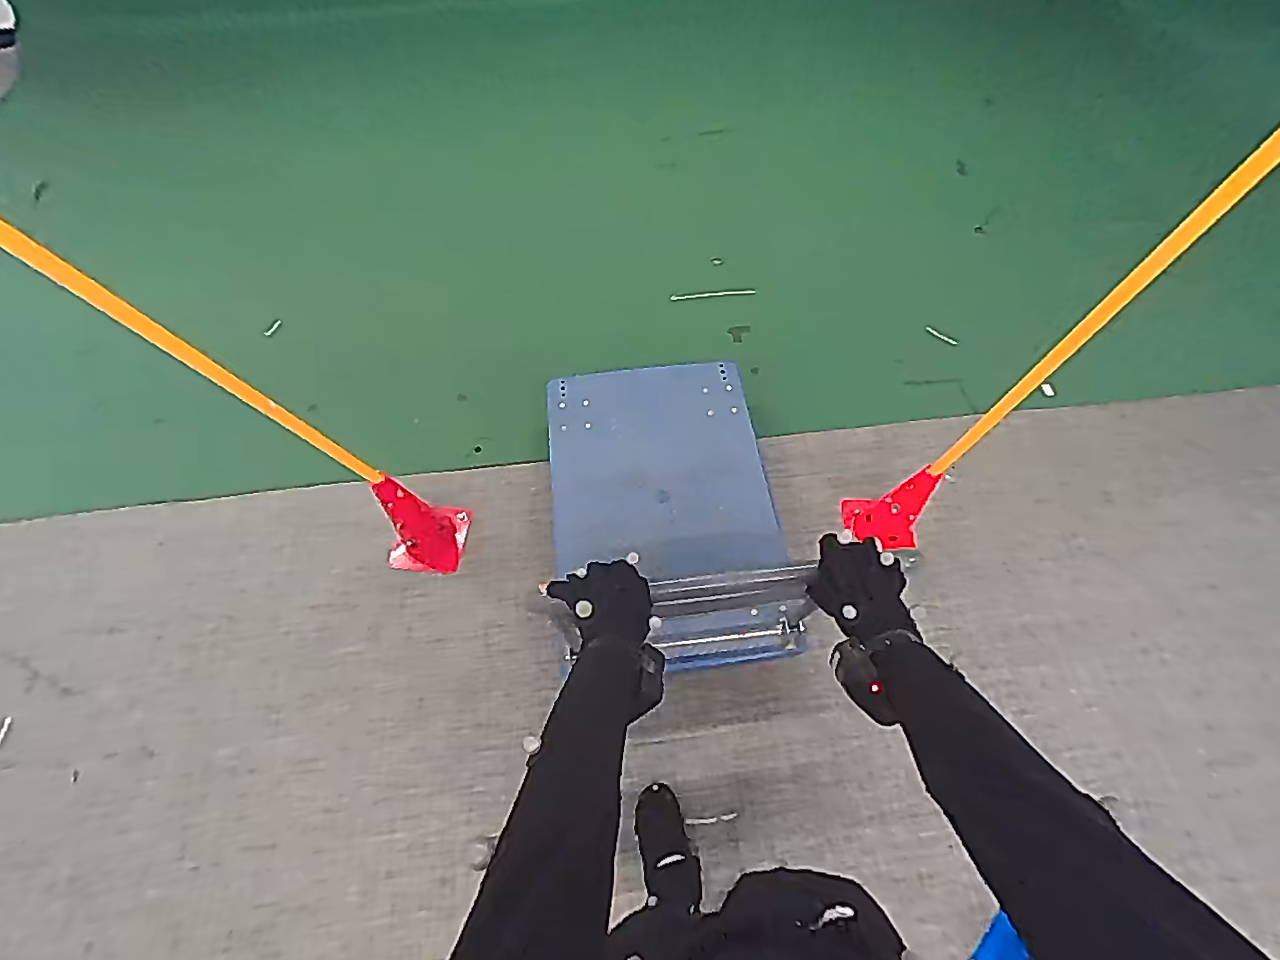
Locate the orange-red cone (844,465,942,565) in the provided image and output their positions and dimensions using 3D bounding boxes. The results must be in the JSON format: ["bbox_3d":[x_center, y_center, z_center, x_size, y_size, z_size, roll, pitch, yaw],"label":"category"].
[{"bbox_3d":[0.688,0.066,1.406,0.198,0.360,0.199,4,62,3],"label":"orange-red cone"}]
